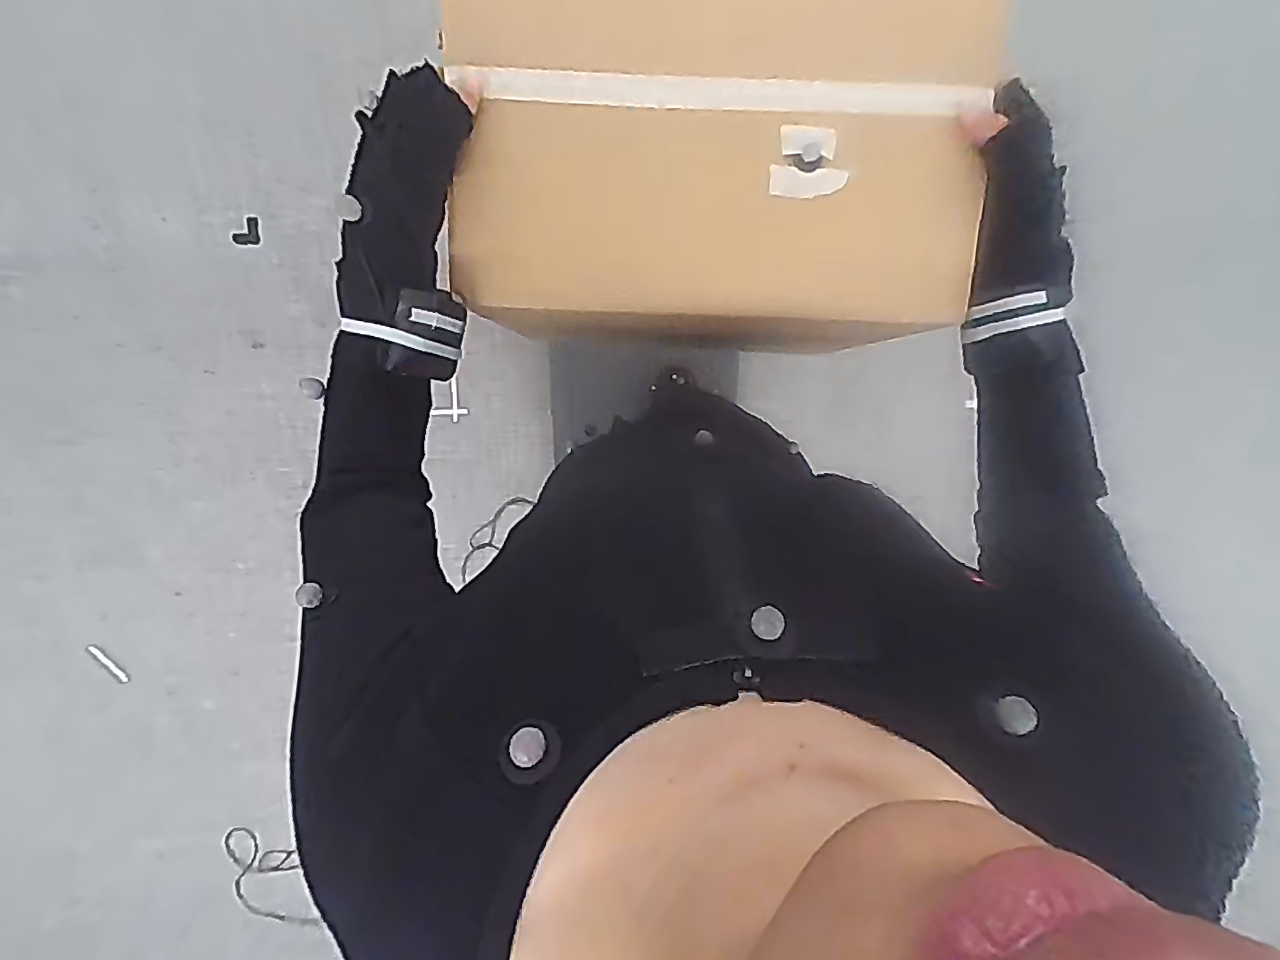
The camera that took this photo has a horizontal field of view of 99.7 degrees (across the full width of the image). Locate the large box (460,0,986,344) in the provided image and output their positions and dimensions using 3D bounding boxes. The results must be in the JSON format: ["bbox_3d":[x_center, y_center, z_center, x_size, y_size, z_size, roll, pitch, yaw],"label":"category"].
[{"bbox_3d":[0.057,-0.317,0.563,0.408,0.320,0.320,2,99,-1],"label":"large box"}]
